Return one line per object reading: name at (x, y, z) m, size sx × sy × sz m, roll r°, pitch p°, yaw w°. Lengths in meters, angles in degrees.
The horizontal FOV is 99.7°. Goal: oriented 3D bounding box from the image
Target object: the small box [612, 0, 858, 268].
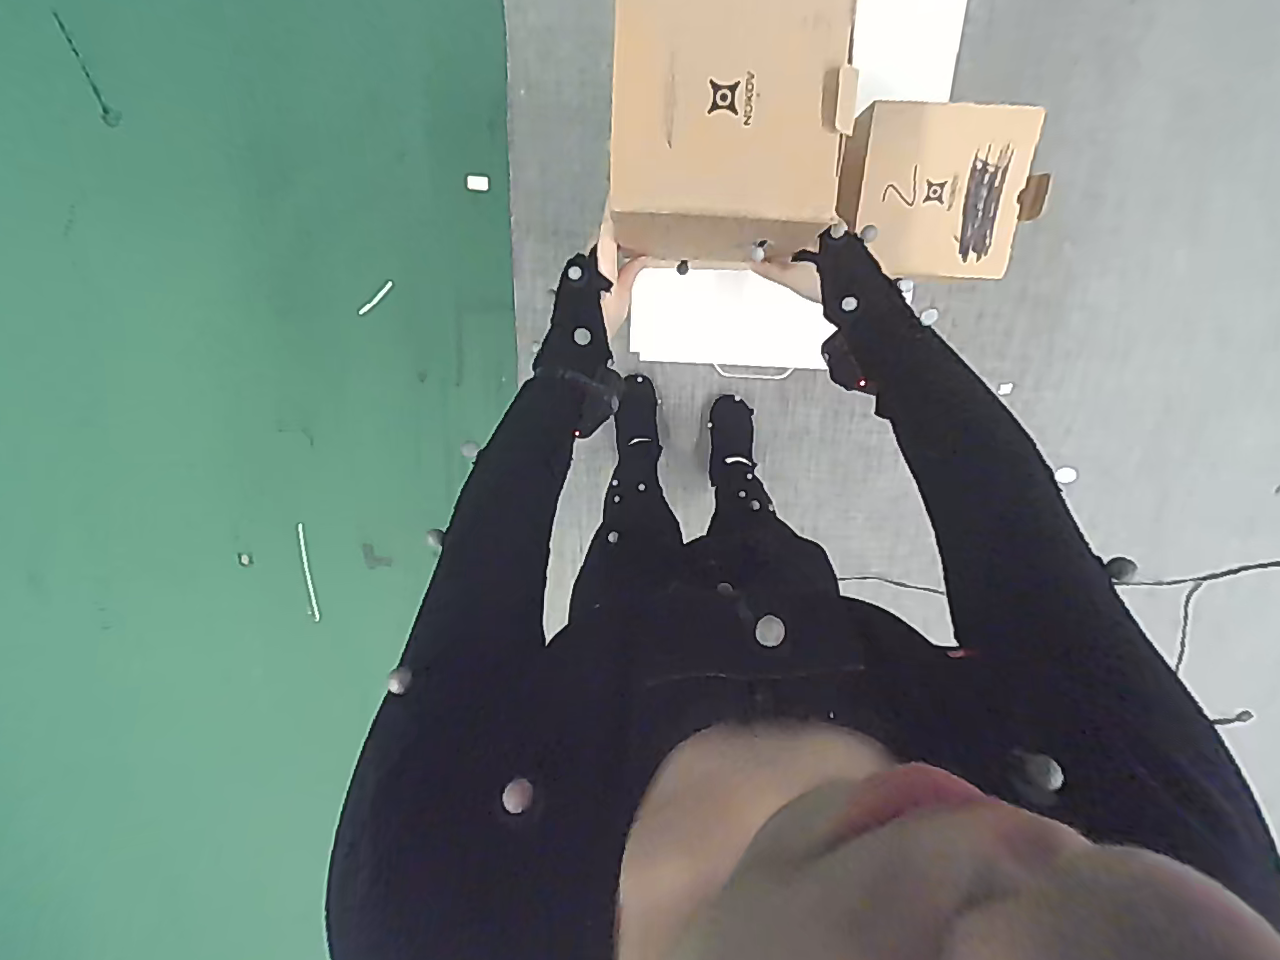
small box at (0.070, -0.293, 0.484) m, size 0.179 × 0.176 × 0.168 m, roll 2°, pitch 101°, yaw 2°
